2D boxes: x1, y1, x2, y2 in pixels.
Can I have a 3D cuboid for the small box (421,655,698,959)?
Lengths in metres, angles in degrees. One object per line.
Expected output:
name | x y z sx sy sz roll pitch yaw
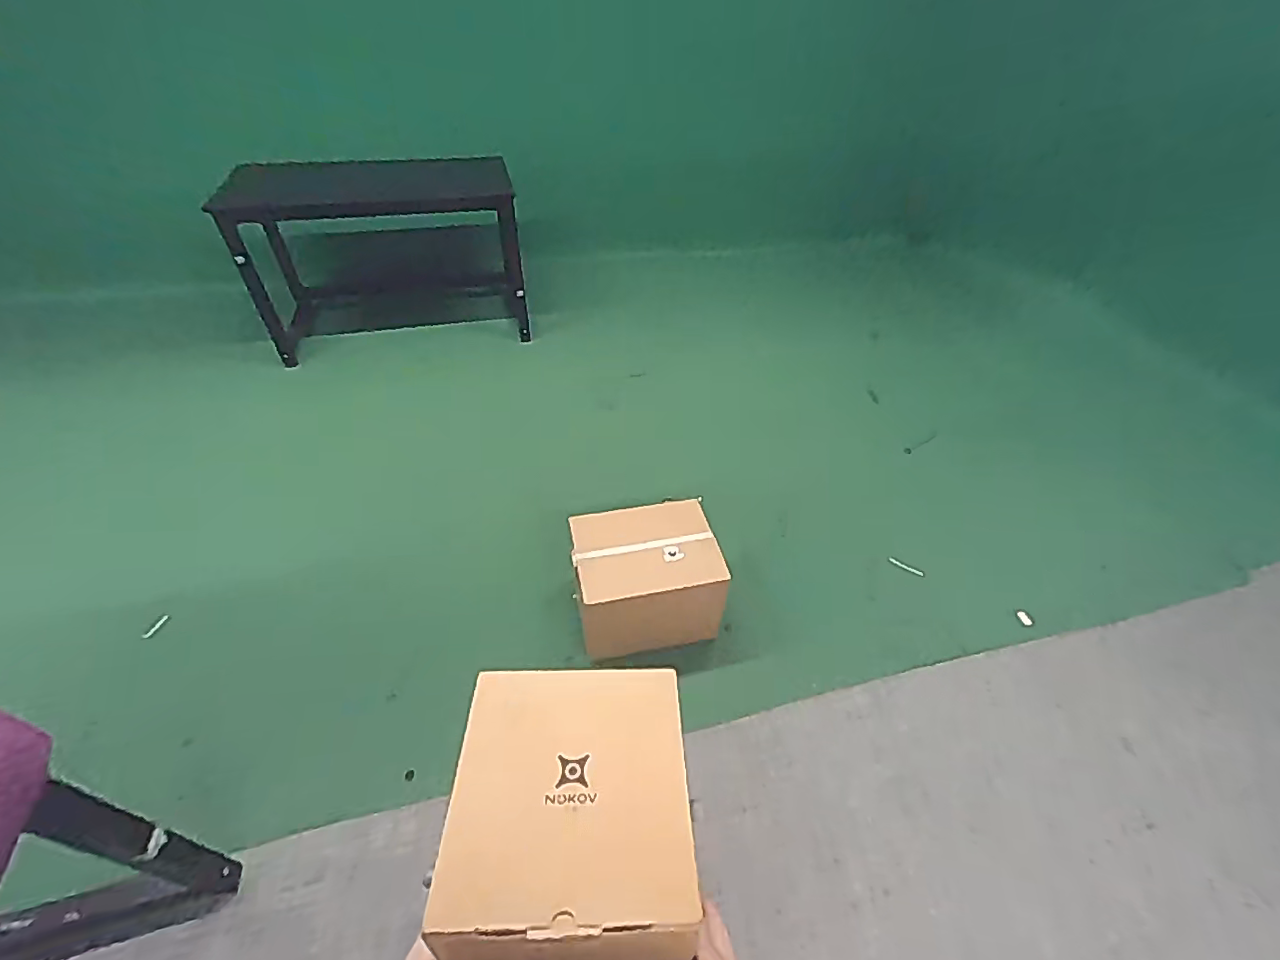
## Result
small box | -0.053 0.263 0.428 0.168 0.176 0.179 0 36 -3

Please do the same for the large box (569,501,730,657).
large box | 0.011 0.301 1.619 0.408 0.320 0.320 -7 45 -11
